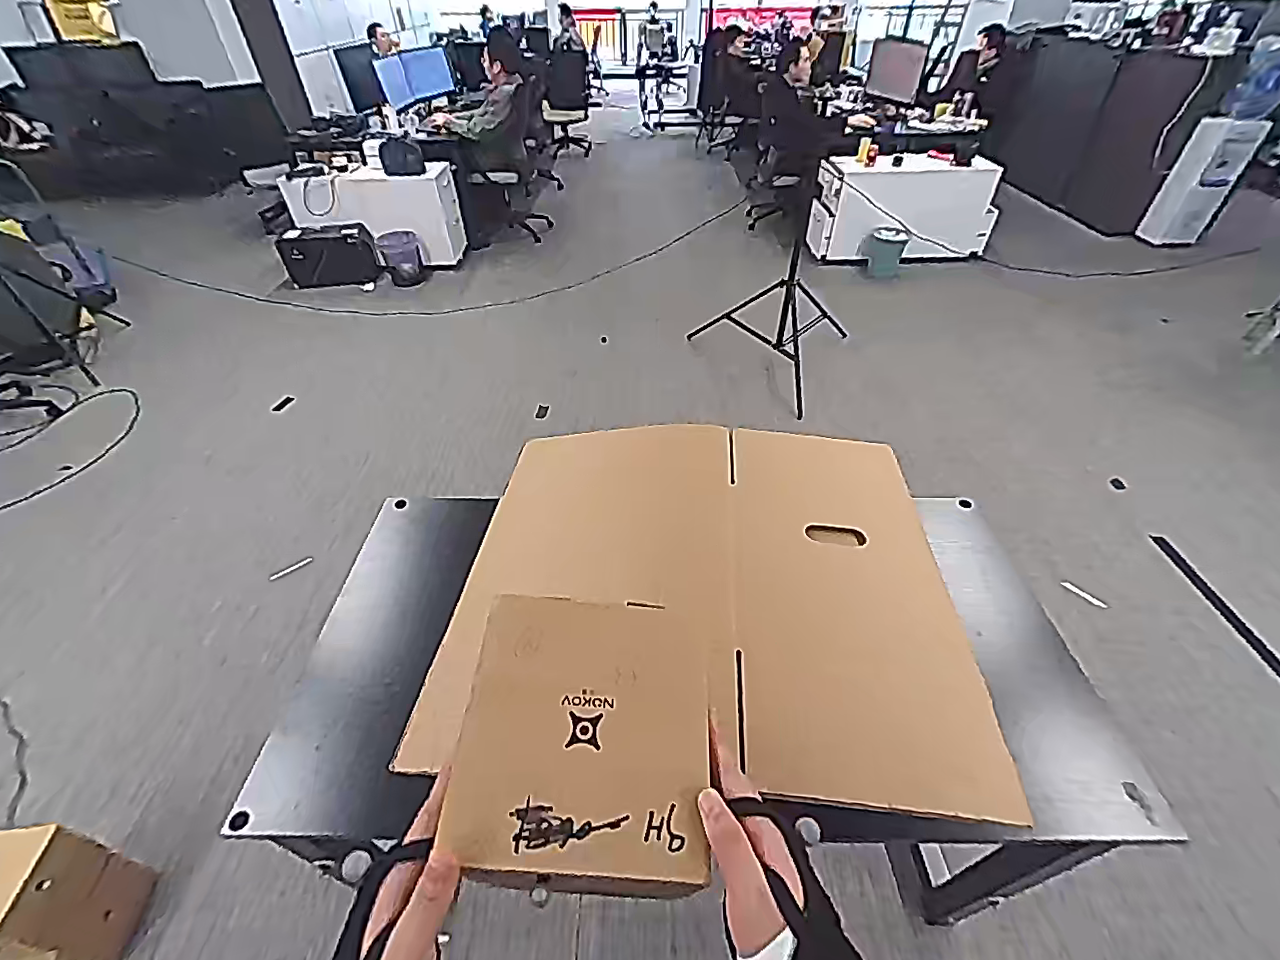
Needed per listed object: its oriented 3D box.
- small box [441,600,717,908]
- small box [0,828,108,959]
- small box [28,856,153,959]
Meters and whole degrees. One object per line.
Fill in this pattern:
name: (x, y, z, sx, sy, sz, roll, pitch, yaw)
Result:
small box: (-0.036, 0.217, 0.427, 0.168, 0.176, 0.179, 3, 48, 0)
small box: (-1.191, 0.797, 1.030, 0.168, 0.176, 0.179, -4, 42, -5)
small box: (-1.188, 0.921, 1.135, 0.168, 0.176, 0.179, -3, 43, -2)
